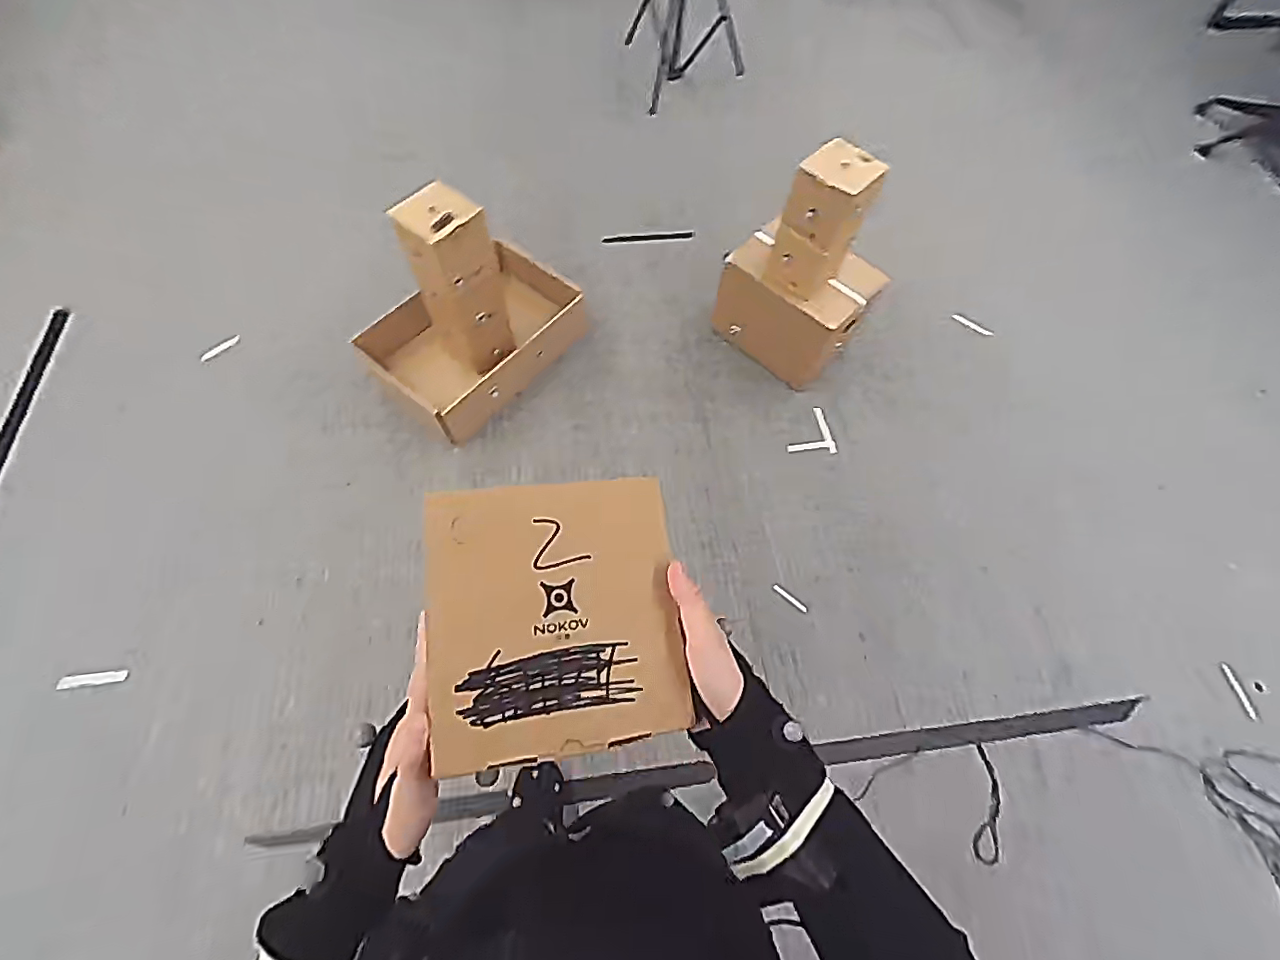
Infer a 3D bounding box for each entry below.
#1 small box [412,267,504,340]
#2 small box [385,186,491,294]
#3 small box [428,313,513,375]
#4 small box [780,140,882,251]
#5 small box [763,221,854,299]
[{"bbox_3d":[-0.518,-0.538,1.552,0.179,0.176,0.168,37,68,14],"label":"small box"},{"bbox_3d":[-0.515,-0.614,1.406,0.179,0.176,0.168,36,67,16],"label":"small box"},{"bbox_3d":[-0.526,-0.463,1.695,0.179,0.176,0.168,39,68,15],"label":"small box"},{"bbox_3d":[0.492,-0.744,1.427,0.168,0.176,0.179,40,68,15],"label":"small box"},{"bbox_3d":[0.479,-0.662,1.569,0.168,0.176,0.179,40,67,15],"label":"small box"}]
